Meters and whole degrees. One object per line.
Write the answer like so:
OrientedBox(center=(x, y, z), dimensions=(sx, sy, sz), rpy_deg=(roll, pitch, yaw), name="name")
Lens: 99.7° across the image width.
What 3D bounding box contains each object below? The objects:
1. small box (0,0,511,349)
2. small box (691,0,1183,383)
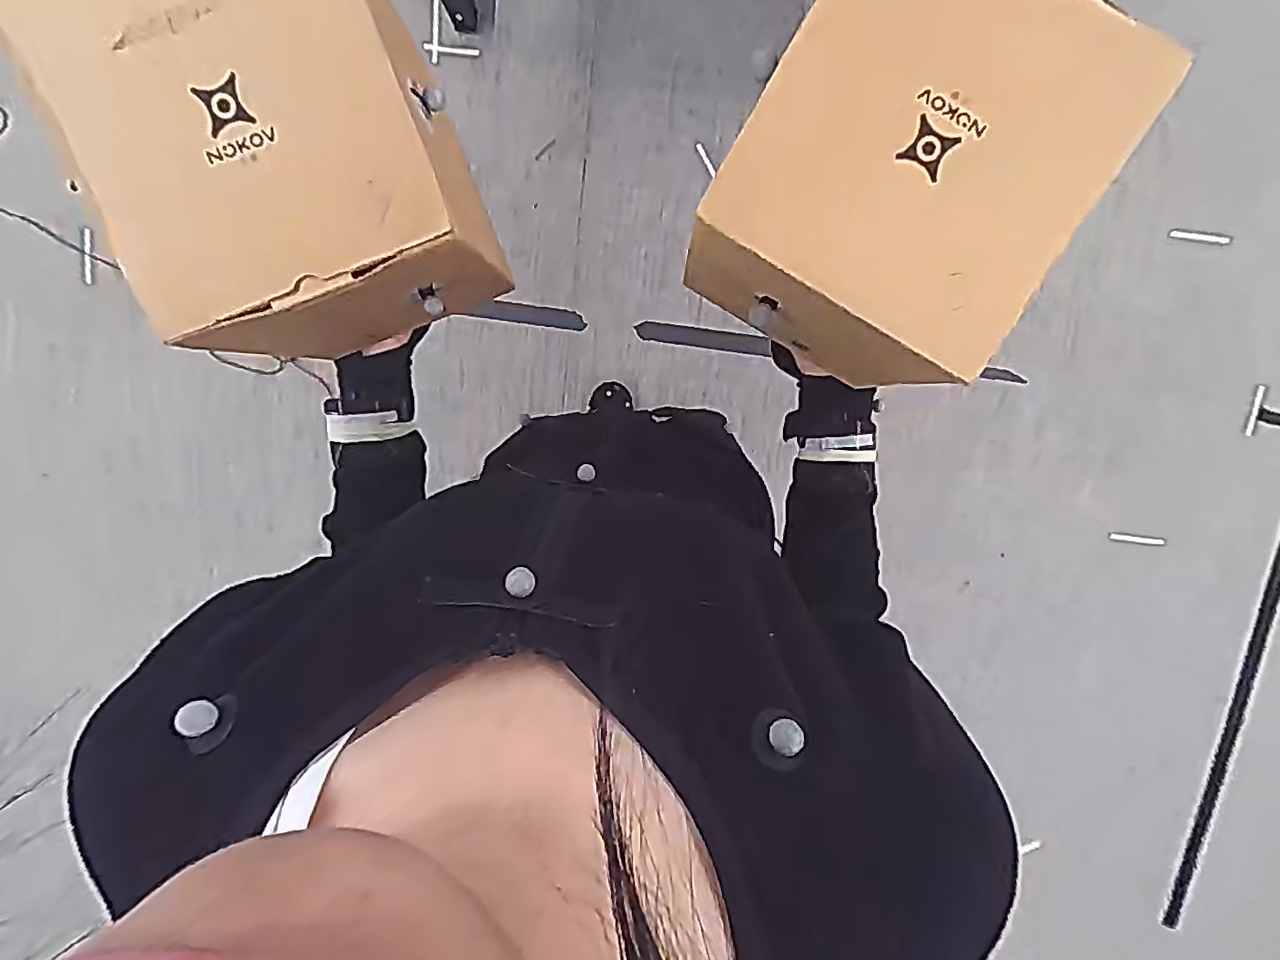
OrientedBox(center=(-0.198, -0.191, 0.342), dimensions=(0.168, 0.176, 0.179), rpy_deg=(-21, 99, 0), name="small box")
OrientedBox(center=(0.144, -0.174, 0.339), dimensions=(0.168, 0.176, 0.179), rpy_deg=(31, 97, -2), name="small box")
